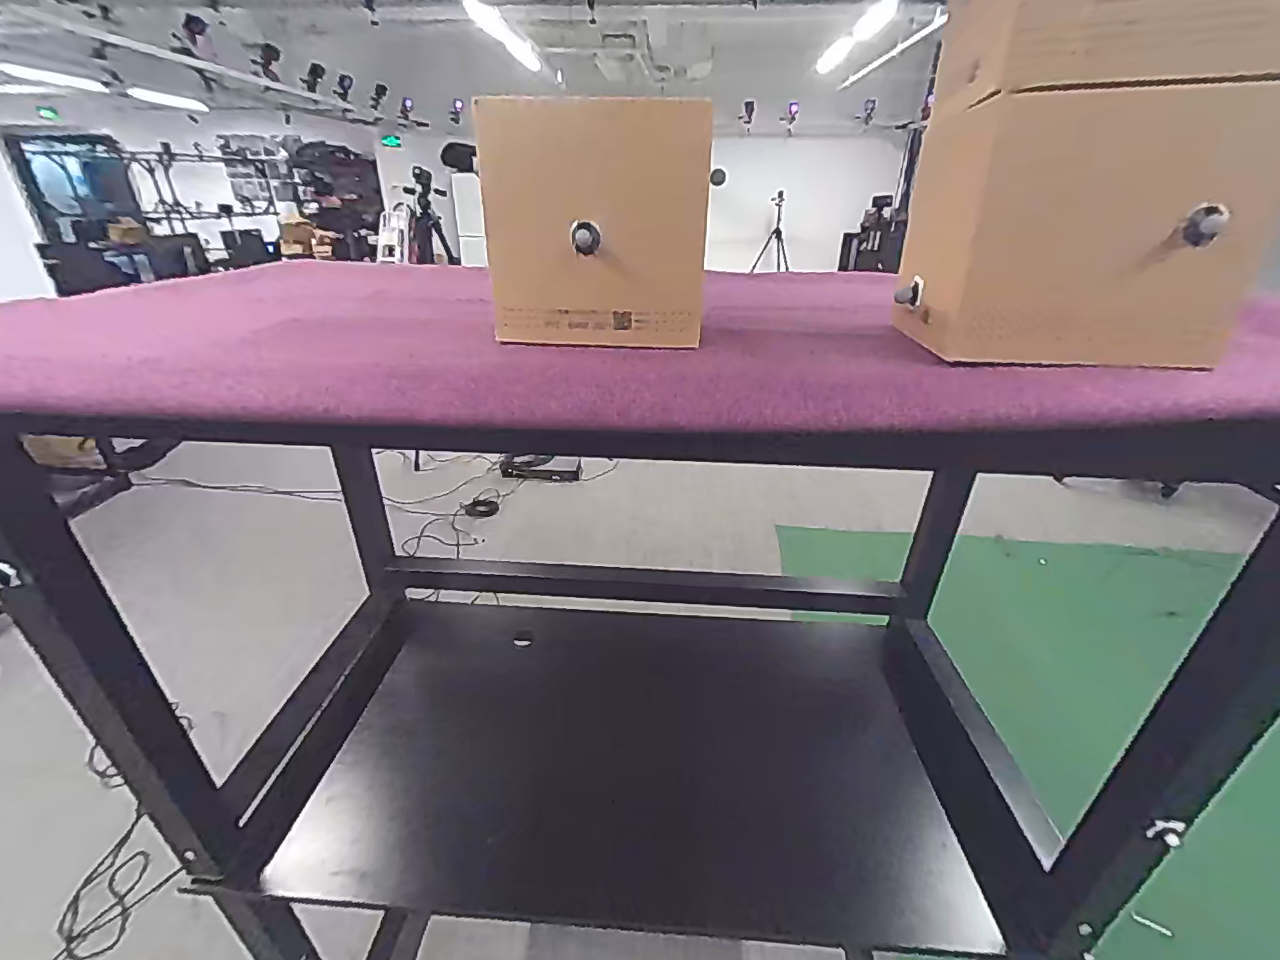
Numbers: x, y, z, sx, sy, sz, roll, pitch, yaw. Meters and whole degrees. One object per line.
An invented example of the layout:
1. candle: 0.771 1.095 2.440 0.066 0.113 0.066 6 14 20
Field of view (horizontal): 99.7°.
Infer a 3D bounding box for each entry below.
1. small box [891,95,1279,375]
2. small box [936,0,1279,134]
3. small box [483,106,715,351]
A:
1. small box: 0.322 -0.182 0.426 0.179 0.176 0.168 3 24 8
2. small box: 0.320 -0.332 0.364 0.179 0.176 0.168 6 25 11
3. small box: -0.023 -0.217 0.479 0.168 0.176 0.179 4 27 3
